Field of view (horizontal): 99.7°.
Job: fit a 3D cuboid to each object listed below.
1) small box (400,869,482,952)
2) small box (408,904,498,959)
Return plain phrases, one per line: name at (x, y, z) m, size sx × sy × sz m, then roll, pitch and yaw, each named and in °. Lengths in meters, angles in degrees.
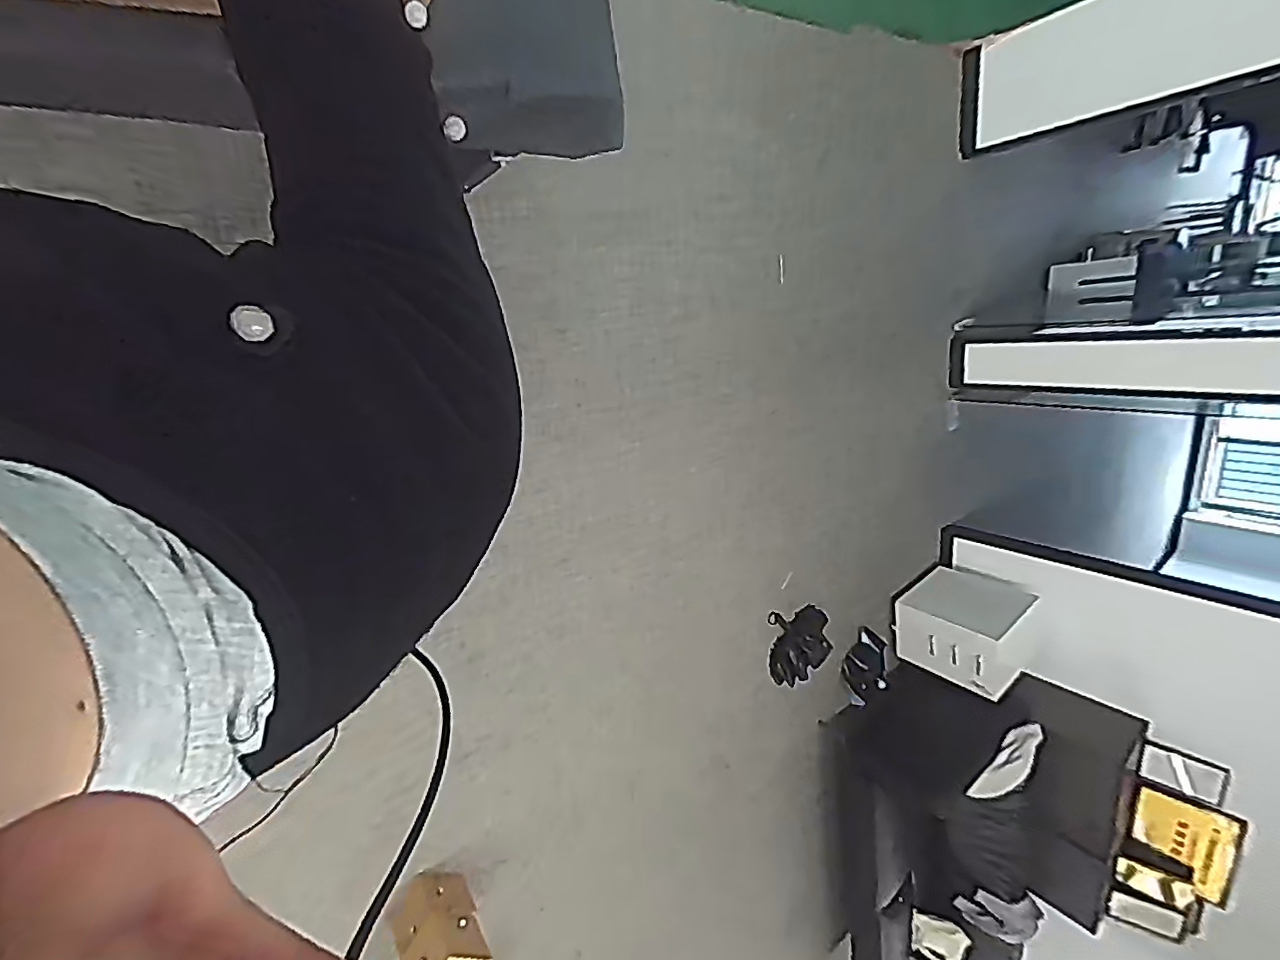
small box at (-0.641, 1.383, 1.724) m, size 0.168 × 0.176 × 0.179 m, roll 32°, pitch 81°, yaw -36°
small box at (-0.555, 1.401, 1.584) m, size 0.168 × 0.176 × 0.179 m, roll 41°, pitch 74°, yaw -35°
